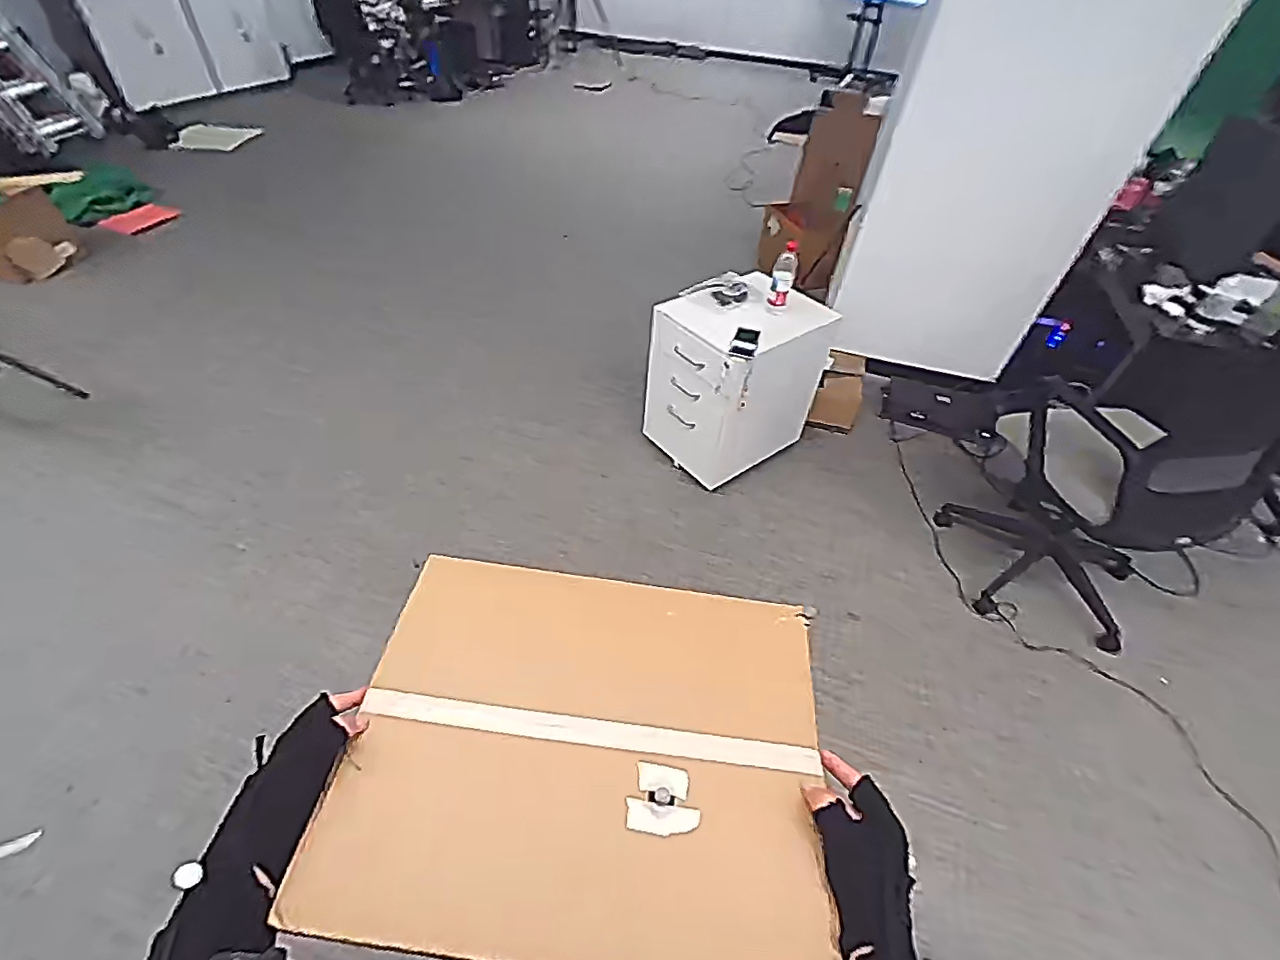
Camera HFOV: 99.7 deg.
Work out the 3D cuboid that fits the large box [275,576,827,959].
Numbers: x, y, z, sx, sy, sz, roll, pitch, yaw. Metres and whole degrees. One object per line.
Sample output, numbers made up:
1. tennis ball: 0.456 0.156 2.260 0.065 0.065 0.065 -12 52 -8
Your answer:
1. large box: -0.065 0.337 0.589 0.408 0.320 0.320 8 48 0
